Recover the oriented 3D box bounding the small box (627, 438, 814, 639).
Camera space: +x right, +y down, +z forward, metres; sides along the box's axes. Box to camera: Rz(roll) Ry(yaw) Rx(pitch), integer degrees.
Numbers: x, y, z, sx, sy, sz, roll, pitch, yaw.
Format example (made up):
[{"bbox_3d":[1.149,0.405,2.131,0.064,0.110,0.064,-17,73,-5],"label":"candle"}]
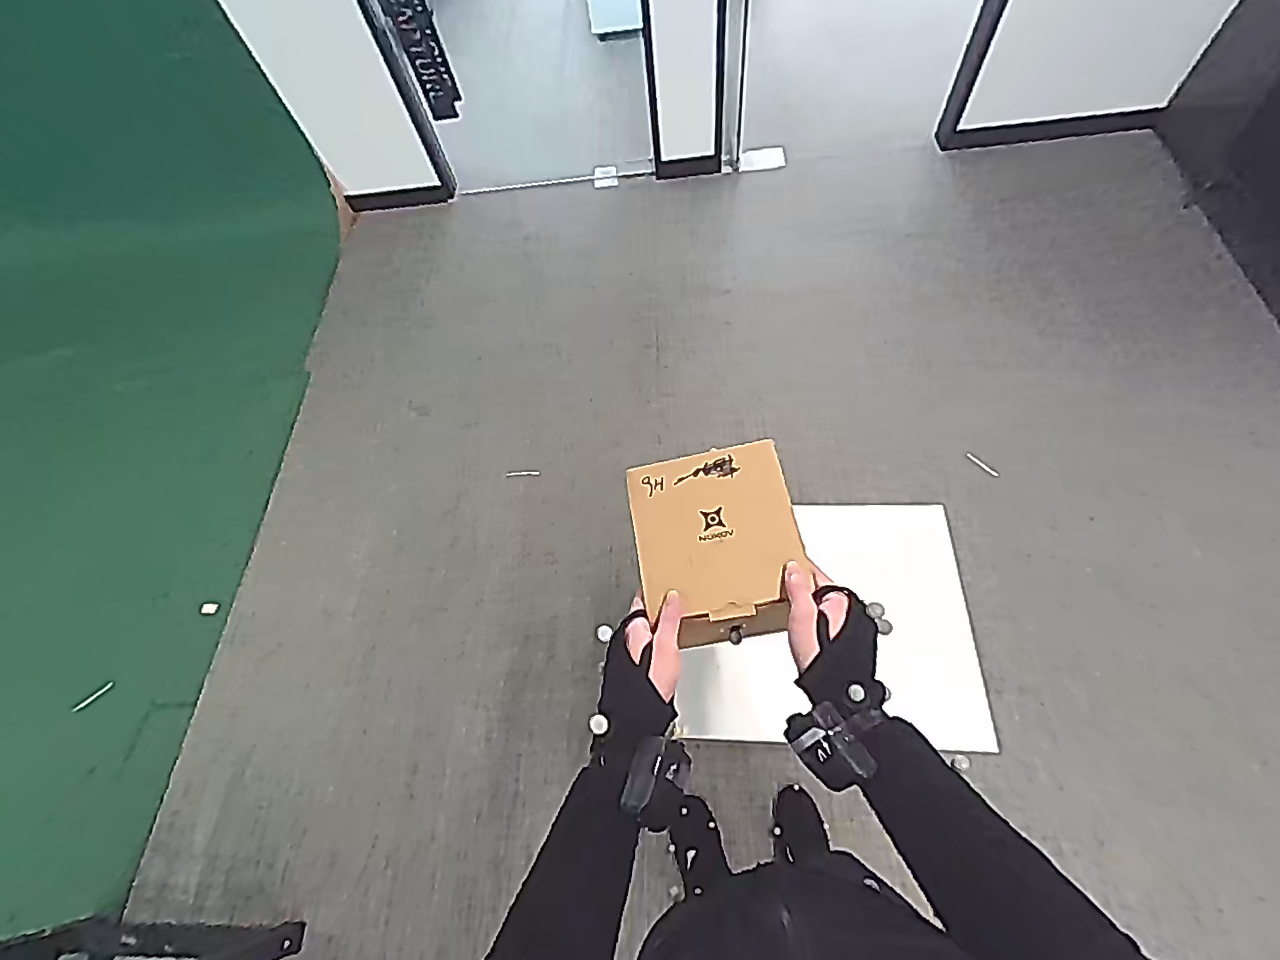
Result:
[{"bbox_3d":[0.093,0.080,0.633,0.168,0.176,0.179,-14,63,5],"label":"small box"}]
